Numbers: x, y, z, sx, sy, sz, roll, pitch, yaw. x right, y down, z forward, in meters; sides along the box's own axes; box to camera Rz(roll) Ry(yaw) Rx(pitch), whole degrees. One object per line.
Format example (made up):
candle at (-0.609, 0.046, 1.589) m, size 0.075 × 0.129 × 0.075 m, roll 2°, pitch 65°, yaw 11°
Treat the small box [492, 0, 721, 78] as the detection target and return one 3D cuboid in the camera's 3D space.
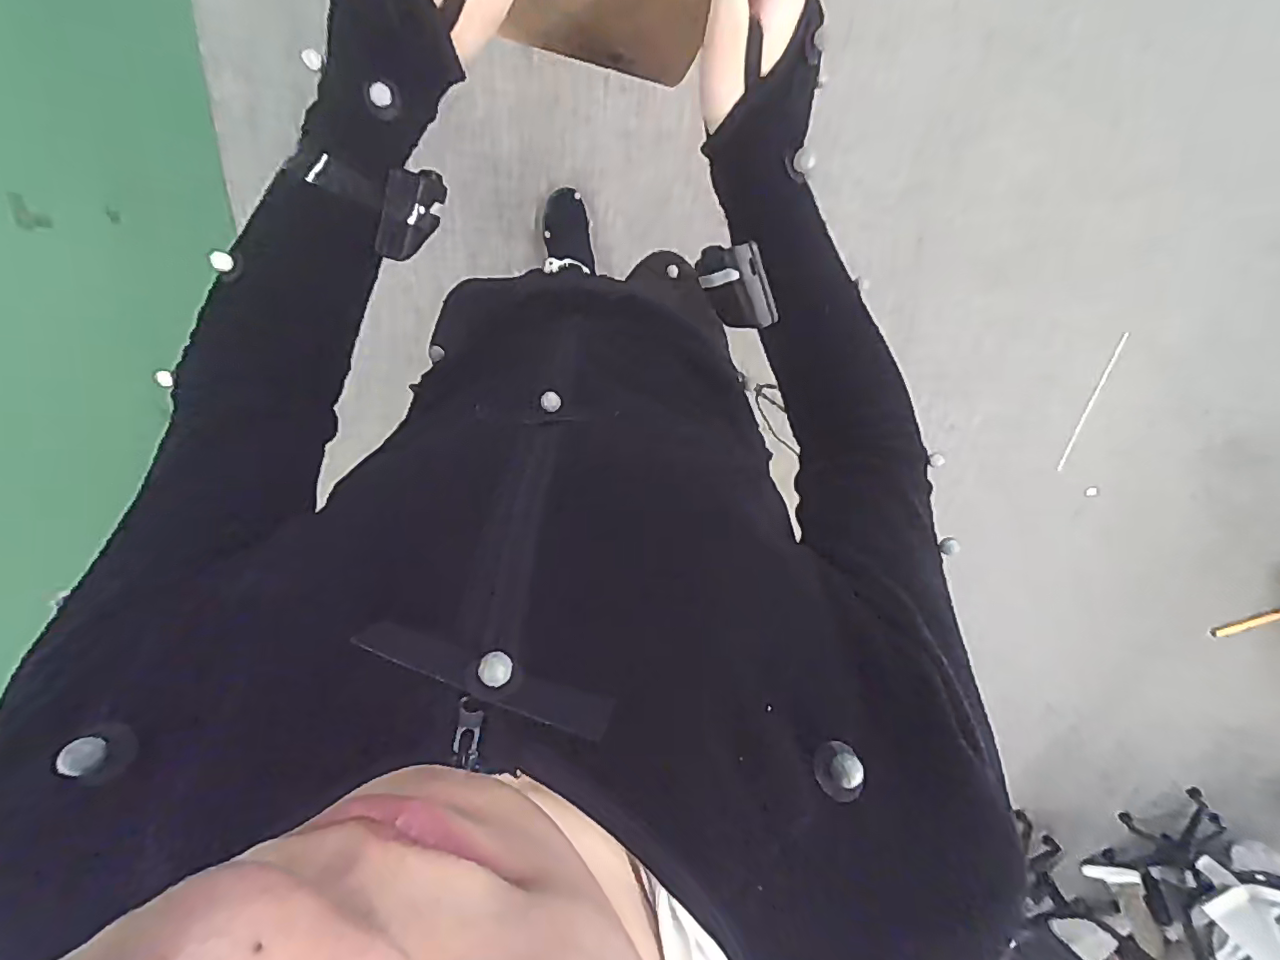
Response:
small box at (-0.015, -0.423, 0.360) m, size 0.168 × 0.176 × 0.179 m, roll 8°, pitch 101°, yaw -13°
